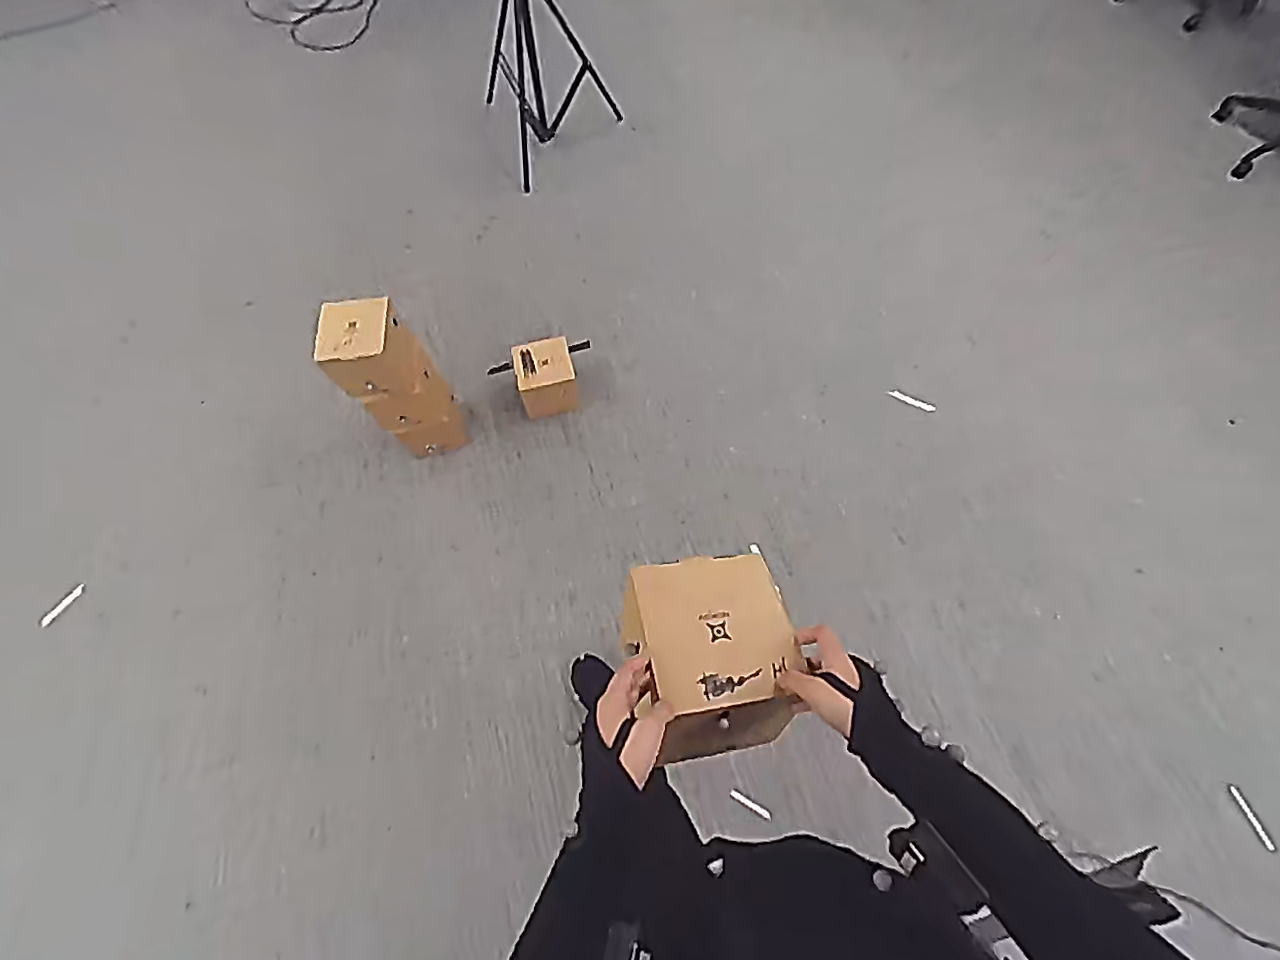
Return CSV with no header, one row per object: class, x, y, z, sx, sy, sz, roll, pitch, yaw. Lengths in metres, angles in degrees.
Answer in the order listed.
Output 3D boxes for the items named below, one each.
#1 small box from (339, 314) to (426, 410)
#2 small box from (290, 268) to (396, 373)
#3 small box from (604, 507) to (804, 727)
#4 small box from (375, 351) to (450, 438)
small box,-0.698,-0.318,1.476,0.168,0.176,0.179,-12,68,-4
small box,-0.718,-0.387,1.327,0.168,0.176,0.179,-7,67,-2
small box,0.054,0.153,0.615,0.168,0.176,0.179,-4,48,-12
small box,-0.686,-0.253,1.623,0.168,0.176,0.179,-14,67,-5
